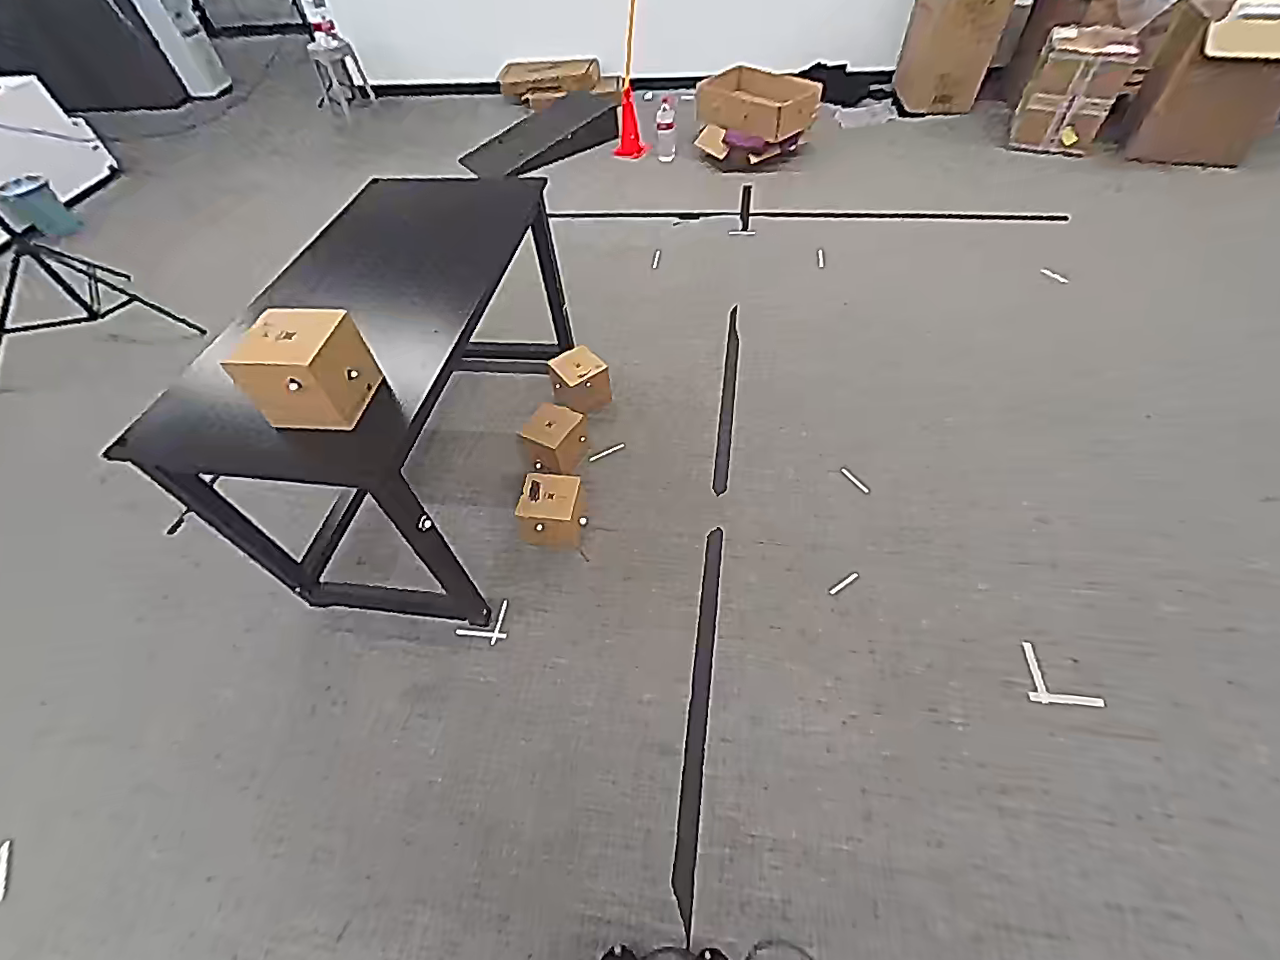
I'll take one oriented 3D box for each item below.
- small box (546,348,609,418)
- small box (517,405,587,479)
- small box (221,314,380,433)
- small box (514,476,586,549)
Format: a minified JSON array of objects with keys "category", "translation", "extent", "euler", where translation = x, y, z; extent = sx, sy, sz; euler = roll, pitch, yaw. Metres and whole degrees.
[{"category":"small box","translation":[-0.237,-0.369,2.081],"extent":[0.168,0.176,0.179],"euler":[-34,57,-19]},{"category":"small box","translation":[-0.303,-0.130,1.907],"extent":[0.168,0.176,0.179],"euler":[22,58,21]},{"category":"small box","translation":[-0.654,-0.207,1.070],"extent":[0.179,0.176,0.168],"euler":[2,52,7]},{"category":"small box","translation":[-0.280,0.107,1.721],"extent":[0.179,0.176,0.168],"euler":[4,53,6]}]
